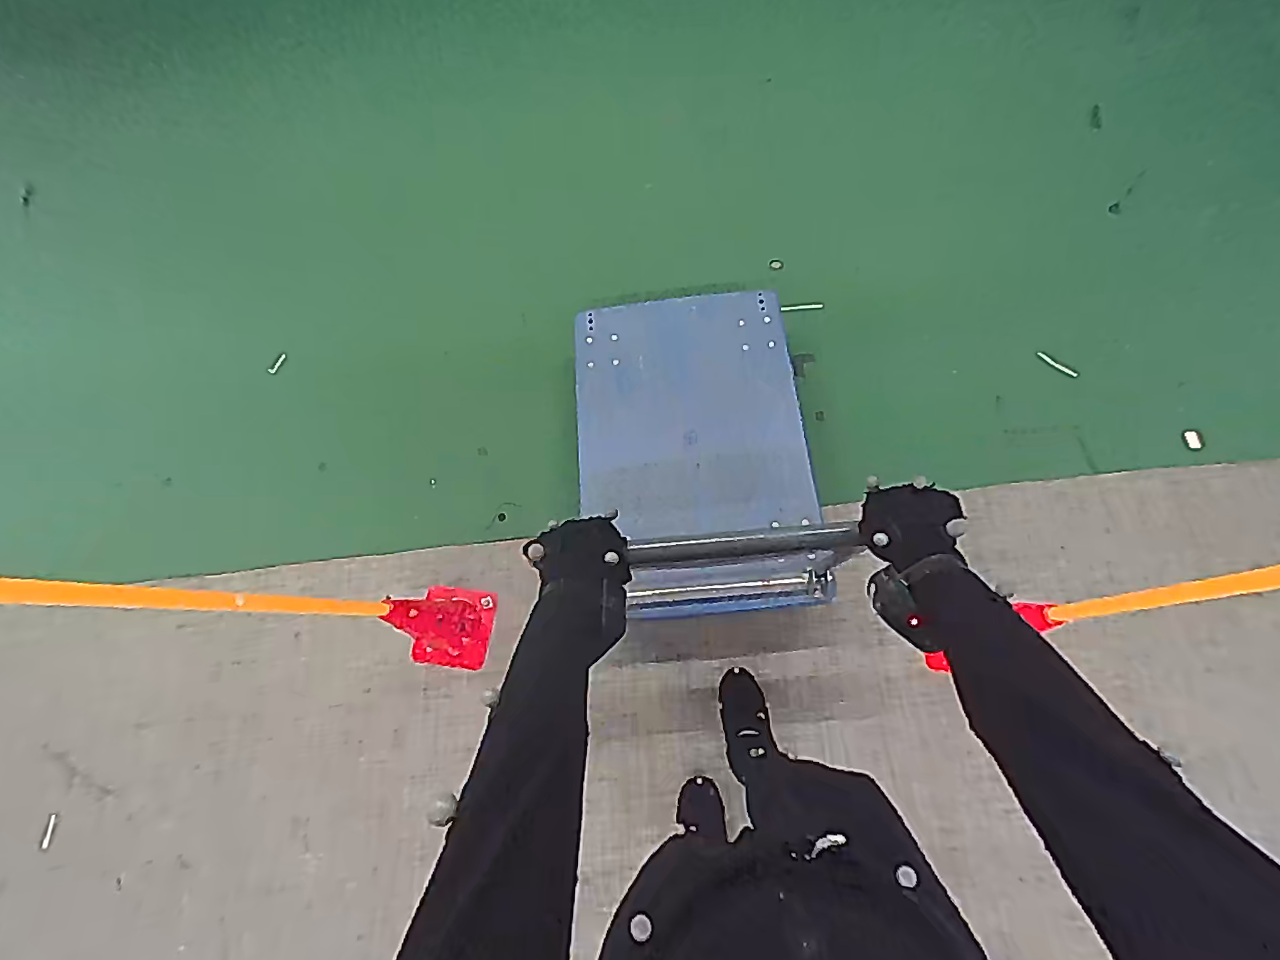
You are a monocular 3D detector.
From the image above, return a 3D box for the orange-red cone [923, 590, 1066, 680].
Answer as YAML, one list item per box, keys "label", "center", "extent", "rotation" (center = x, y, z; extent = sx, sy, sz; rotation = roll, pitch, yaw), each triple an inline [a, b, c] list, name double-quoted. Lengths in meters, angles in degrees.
- label: "orange-red cone"
  center: [0.782, 0.315, 1.157]
  extent: [0.198, 0.360, 0.199]
  rotation: [4, 70, 7]
